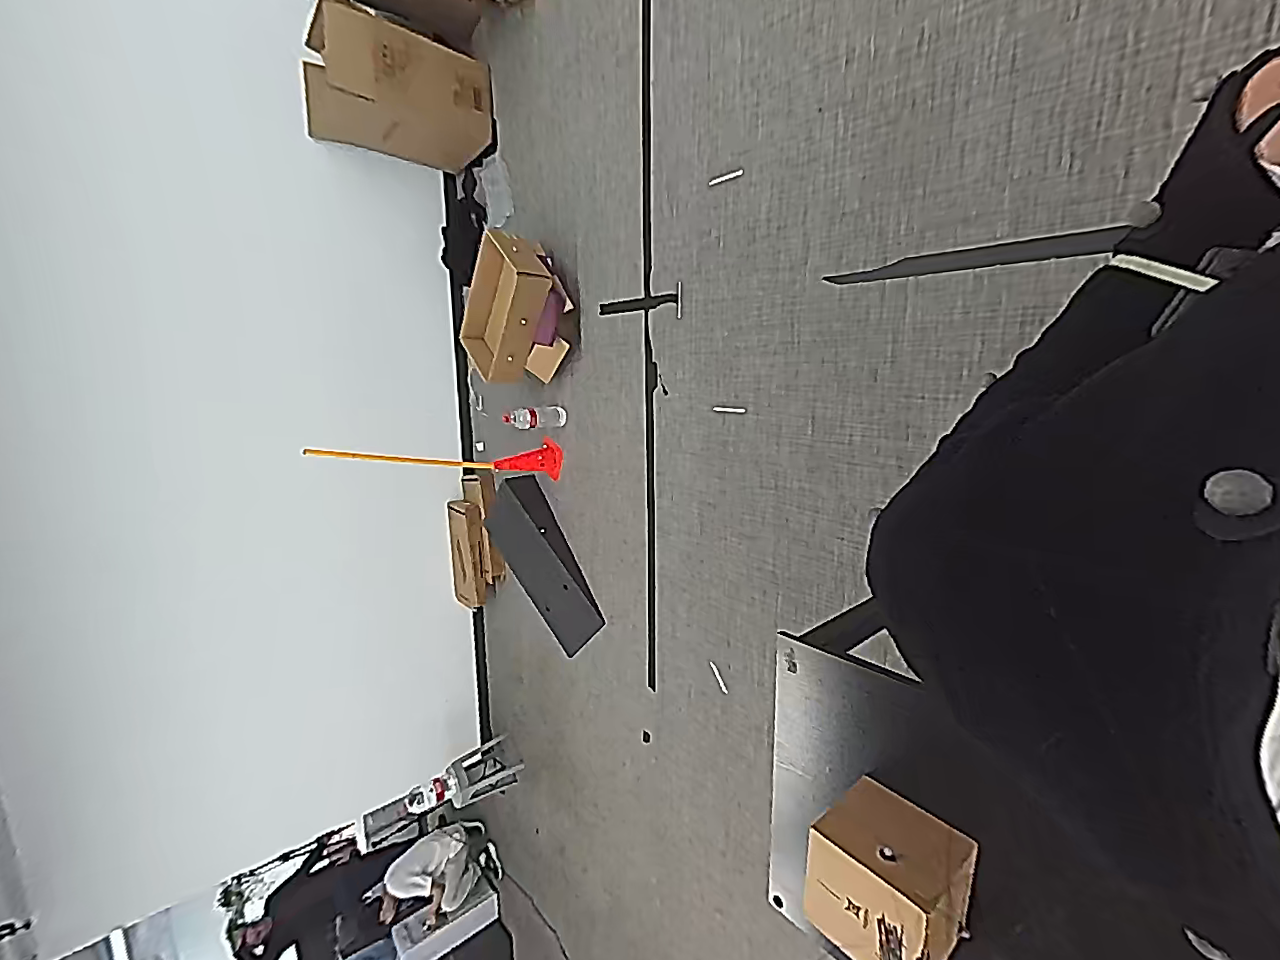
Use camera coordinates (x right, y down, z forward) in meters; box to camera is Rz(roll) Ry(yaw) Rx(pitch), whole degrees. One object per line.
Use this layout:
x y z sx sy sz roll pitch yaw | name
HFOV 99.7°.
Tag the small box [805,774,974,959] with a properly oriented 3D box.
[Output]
0.378 0.590 0.821 0.179 0.176 0.168 15 109 49 | small box
